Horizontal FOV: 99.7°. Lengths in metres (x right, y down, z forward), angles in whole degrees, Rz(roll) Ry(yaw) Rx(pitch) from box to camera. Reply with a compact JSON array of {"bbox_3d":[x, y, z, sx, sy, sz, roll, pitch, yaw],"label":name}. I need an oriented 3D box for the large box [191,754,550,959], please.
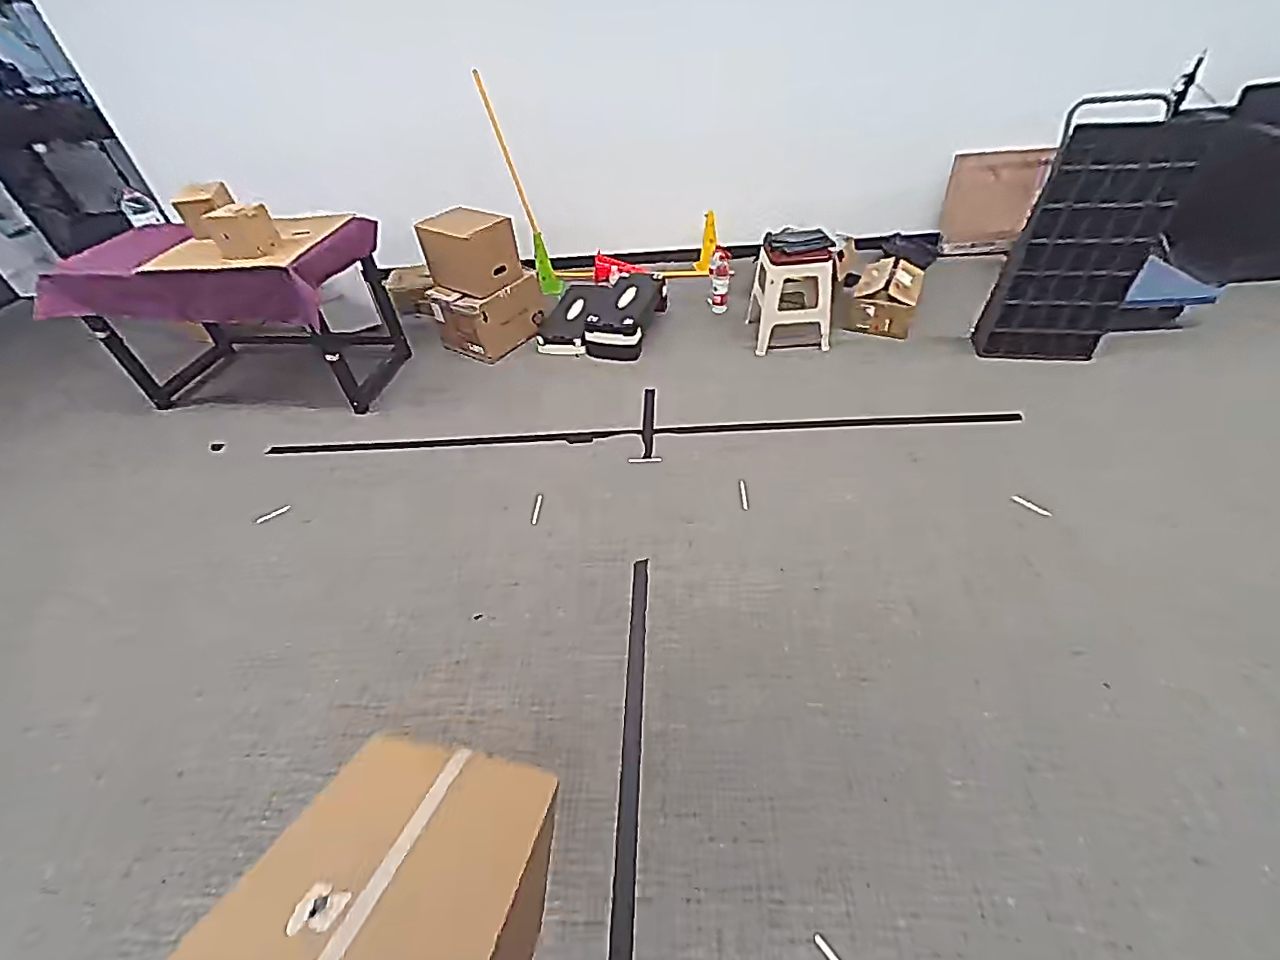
[{"bbox_3d":[-0.331,0.650,0.703,0.320,0.320,0.408,8,12,6],"label":"large box"}]
